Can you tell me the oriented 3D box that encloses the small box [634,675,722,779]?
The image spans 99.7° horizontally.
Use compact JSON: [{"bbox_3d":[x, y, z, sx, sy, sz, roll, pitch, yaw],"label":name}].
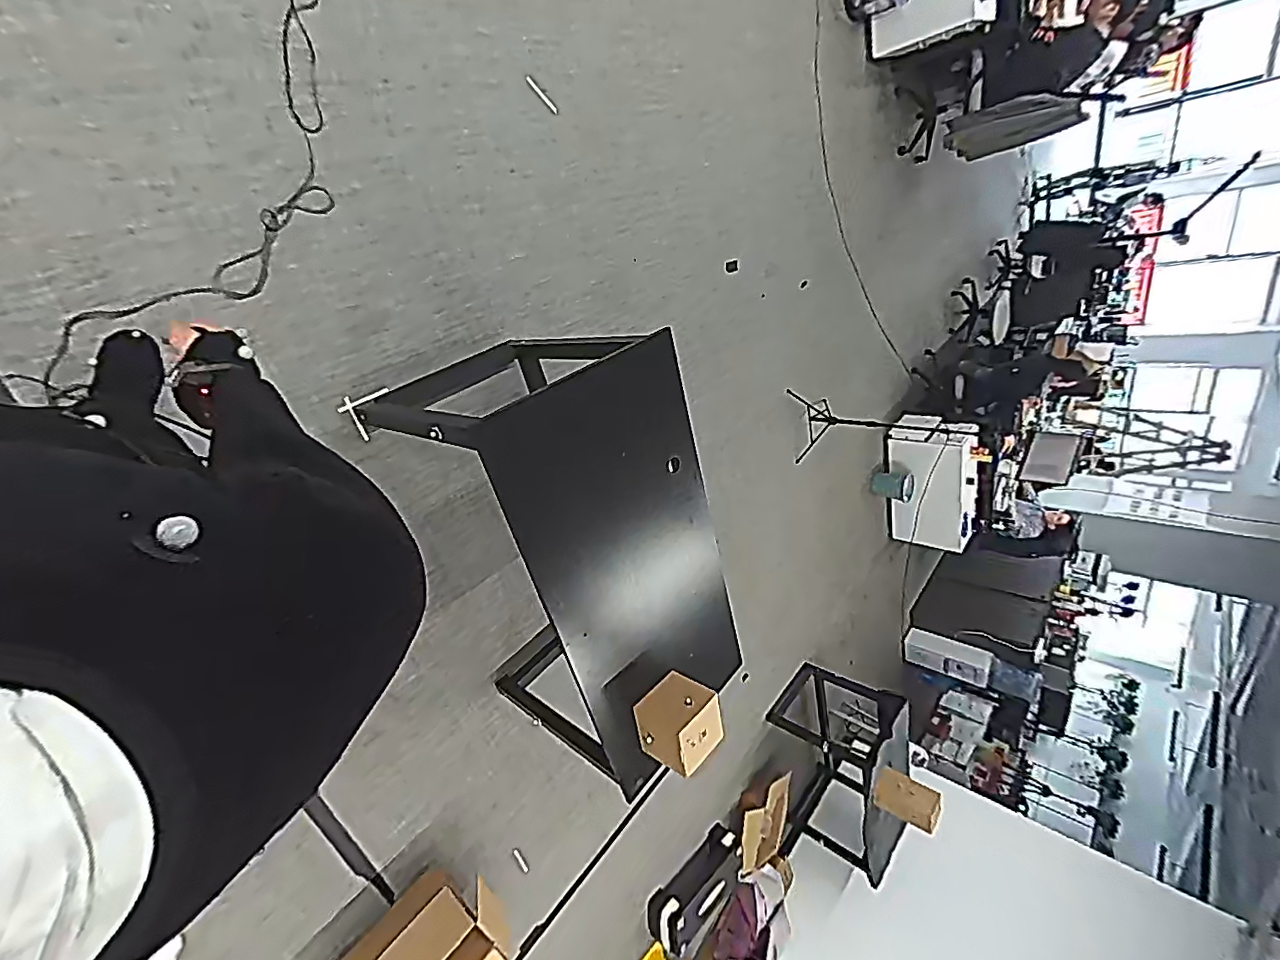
[{"bbox_3d":[0.109,0.686,1.526,0.179,0.176,0.168,-28,117,-40],"label":"small box"}]
